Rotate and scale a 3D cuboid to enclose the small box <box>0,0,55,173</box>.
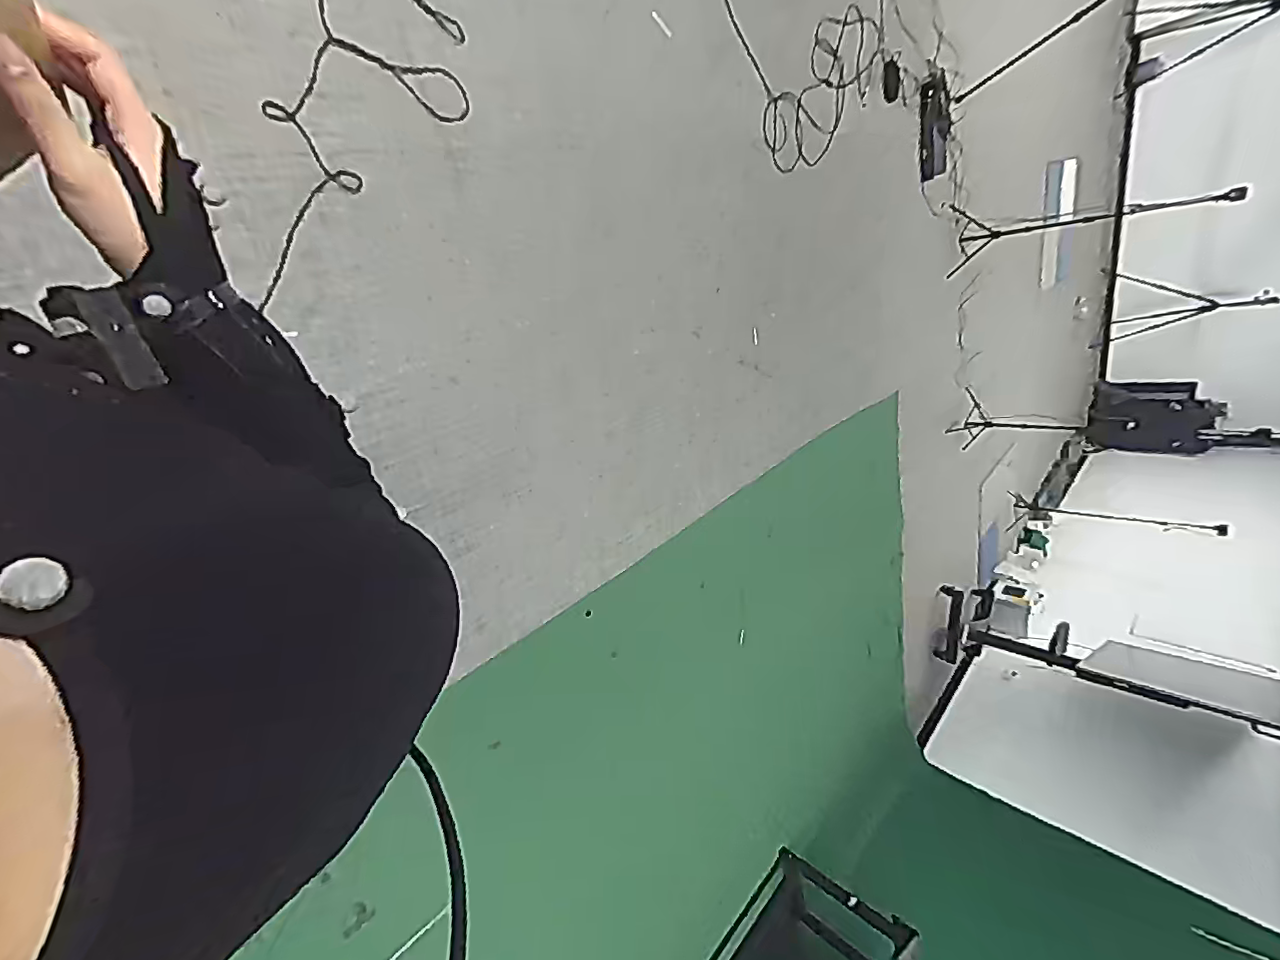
[{"bbox_3d":[-0.383,-0.192,0.198,0.168,0.176,0.179,42,68,-35],"label":"small box"}]
